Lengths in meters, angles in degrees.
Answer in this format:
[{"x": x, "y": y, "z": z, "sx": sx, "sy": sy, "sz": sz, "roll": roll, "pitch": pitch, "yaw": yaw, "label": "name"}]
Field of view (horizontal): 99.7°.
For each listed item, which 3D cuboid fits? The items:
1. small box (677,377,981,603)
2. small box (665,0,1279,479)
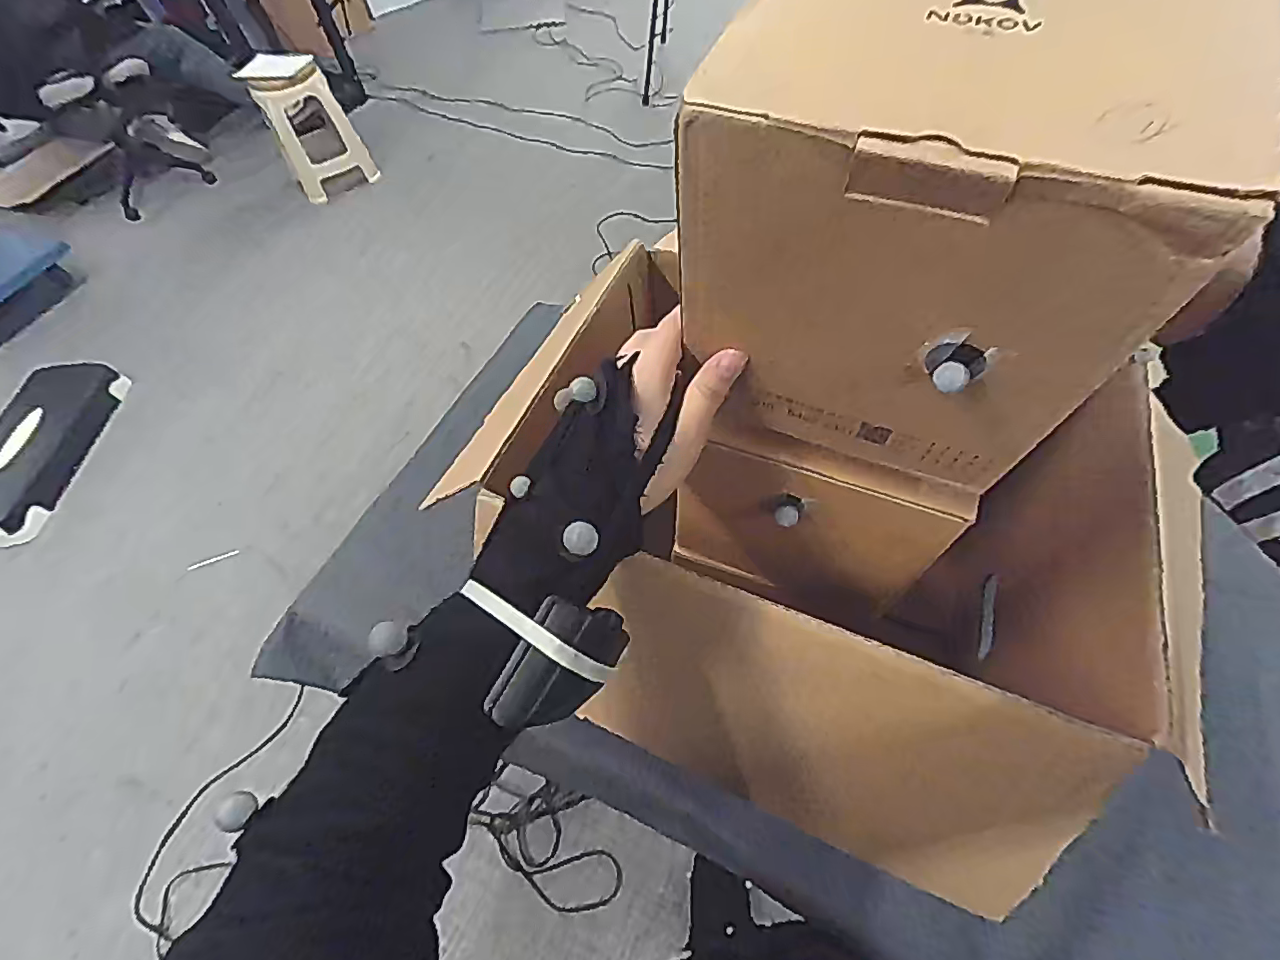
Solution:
[{"x": 0.139, "y": -0.024, "z": 0.418, "sx": 0.179, "sy": 0.176, "sz": 0.168, "roll": 19, "pitch": 61, "yaw": 16, "label": "small box"}, {"x": 0.124, "y": -0.126, "z": 0.254, "sx": 0.168, "sy": 0.176, "sz": 0.179, "roll": 21, "pitch": 66, "yaw": 15, "label": "small box"}]
